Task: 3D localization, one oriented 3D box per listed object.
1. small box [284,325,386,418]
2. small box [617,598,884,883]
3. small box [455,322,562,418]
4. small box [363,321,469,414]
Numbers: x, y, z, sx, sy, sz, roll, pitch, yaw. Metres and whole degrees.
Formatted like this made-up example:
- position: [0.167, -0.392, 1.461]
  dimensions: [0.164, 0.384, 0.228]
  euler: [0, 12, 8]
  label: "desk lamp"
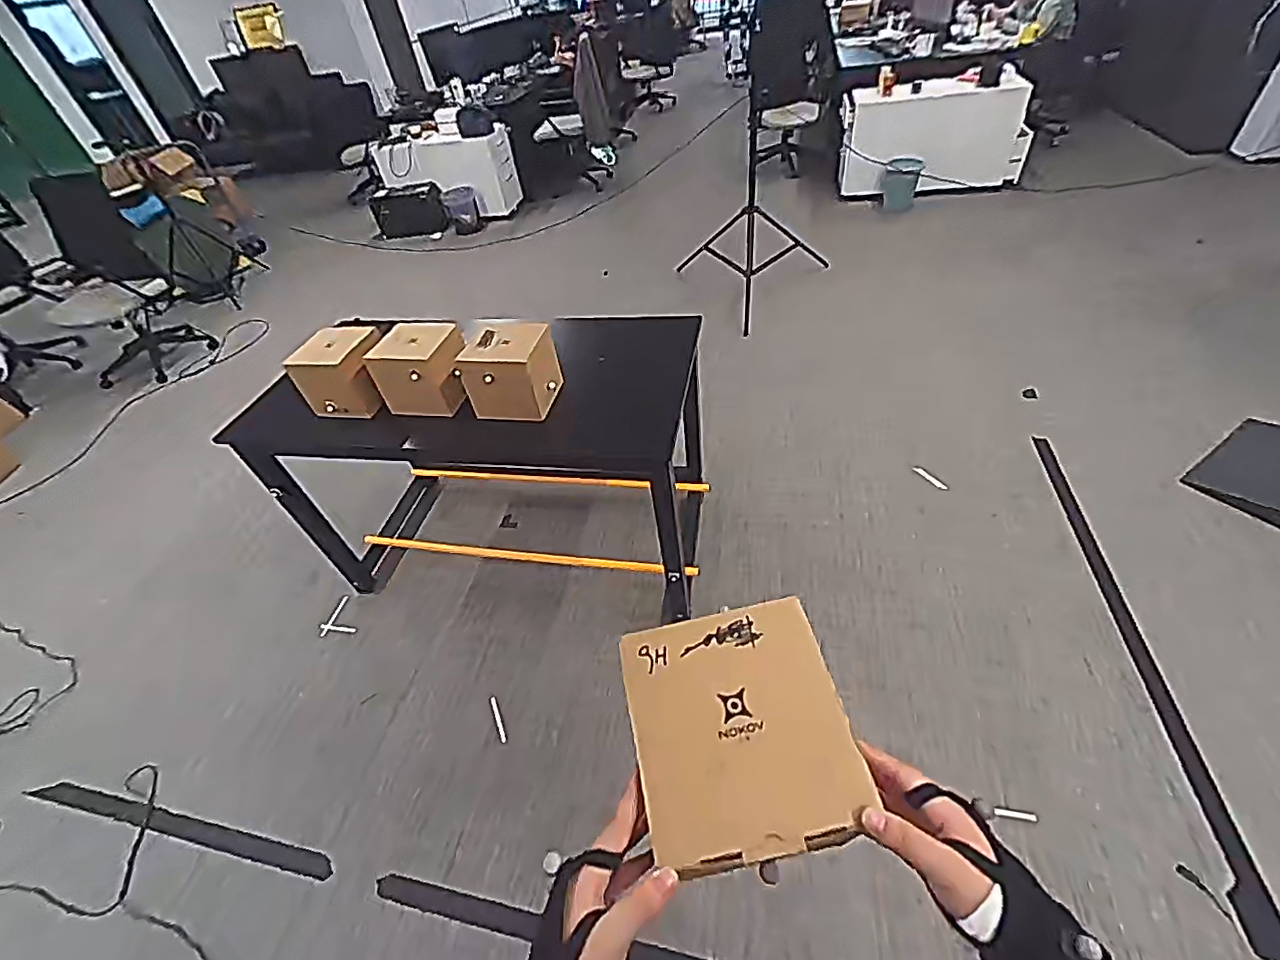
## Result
- position: [-0.757, -0.281, 1.396]
  dimensions: [0.168, 0.176, 0.179]
  euler: [2, 46, 13]
  label: "small box"
- position: [0.085, 0.233, 0.480]
  dimensions: [0.168, 0.176, 0.179]
  euler: [-13, 53, -1]
  label: "small box"
- position: [-0.306, -0.263, 1.299]
  dimensions: [0.179, 0.176, 0.168]
  euler: [4, 46, 13]
  label: "small box"
- position: [-0.540, -0.280, 1.356]
  dimensions: [0.179, 0.176, 0.168]
  euler: [4, 45, 14]
  label: "small box"
